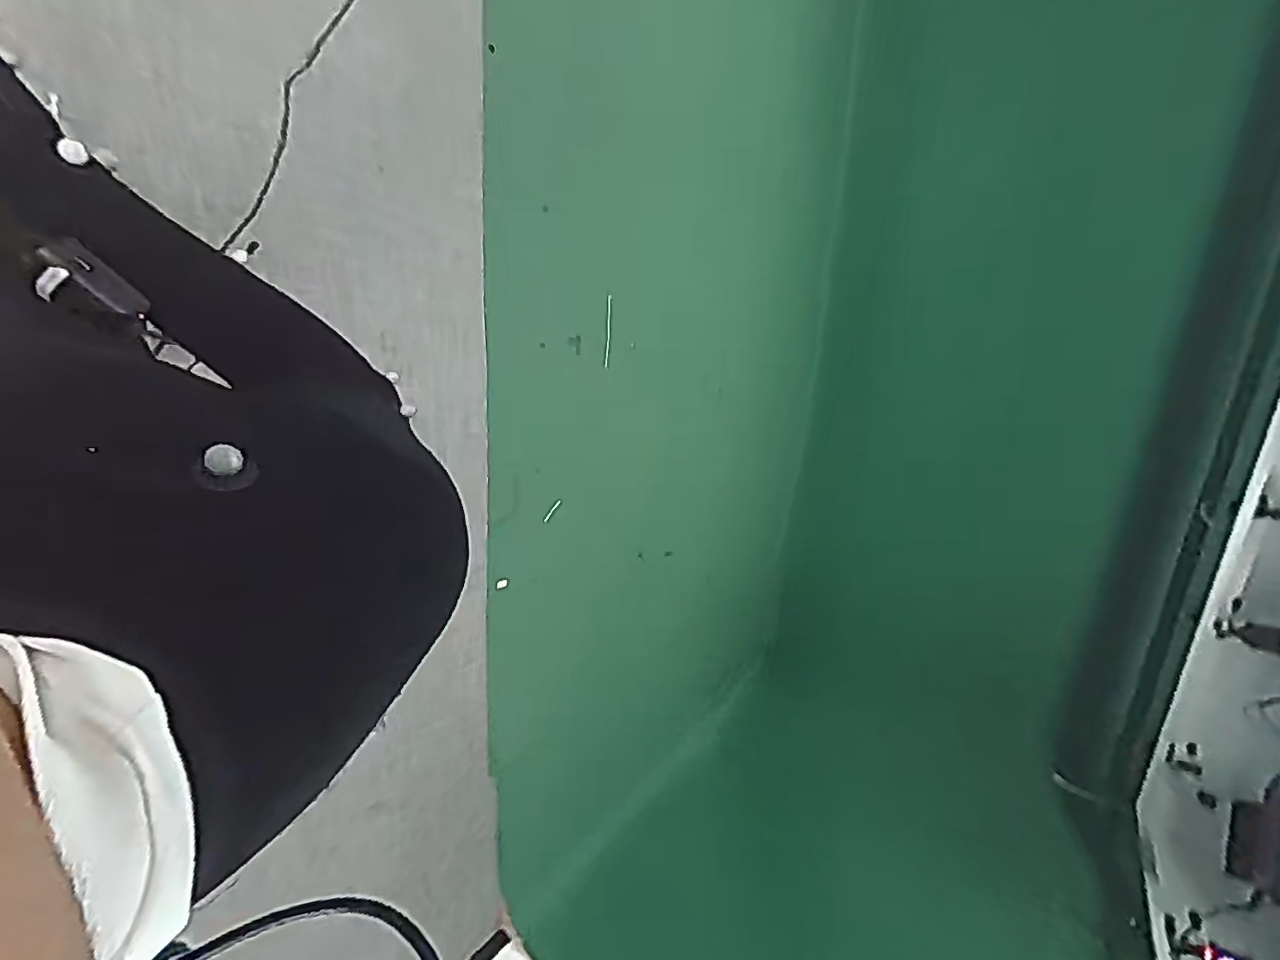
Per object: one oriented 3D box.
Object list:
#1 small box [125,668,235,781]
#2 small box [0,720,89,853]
[{"bbox_3d":[-1.143,0.591,1.344,0.168,0.176,0.179,-14,113,-50],"label":"small box"},{"bbox_3d":[-1.310,0.639,1.140,0.168,0.176,0.179,-15,114,-51],"label":"small box"}]
